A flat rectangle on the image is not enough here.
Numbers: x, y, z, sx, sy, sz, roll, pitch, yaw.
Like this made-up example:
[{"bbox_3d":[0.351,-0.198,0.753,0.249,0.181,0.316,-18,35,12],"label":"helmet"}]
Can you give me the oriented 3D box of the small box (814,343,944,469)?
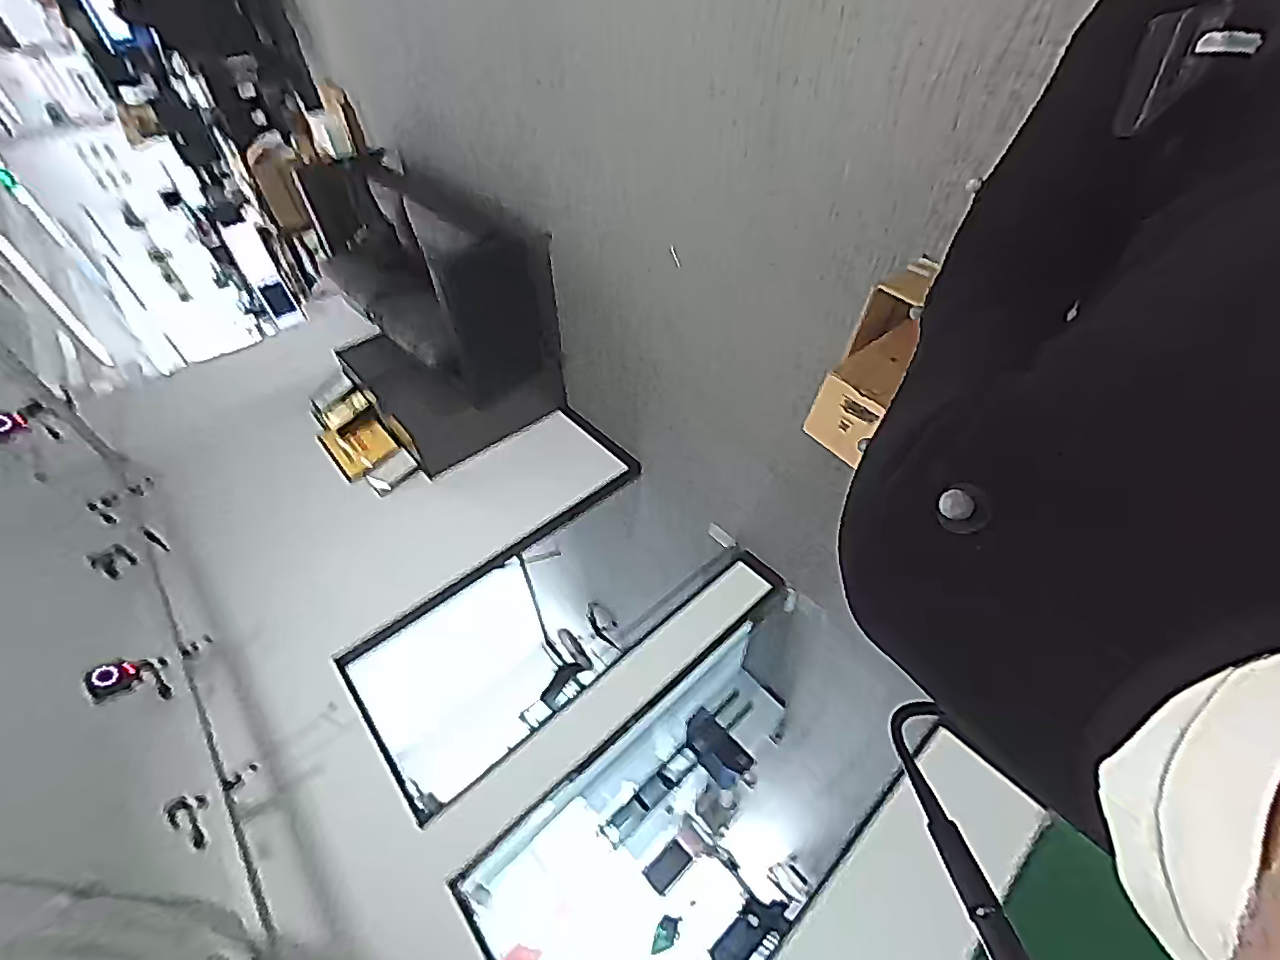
[{"bbox_3d":[0.513,-0.163,1.159,0.168,0.176,0.179,44,152,26],"label":"small box"}]
